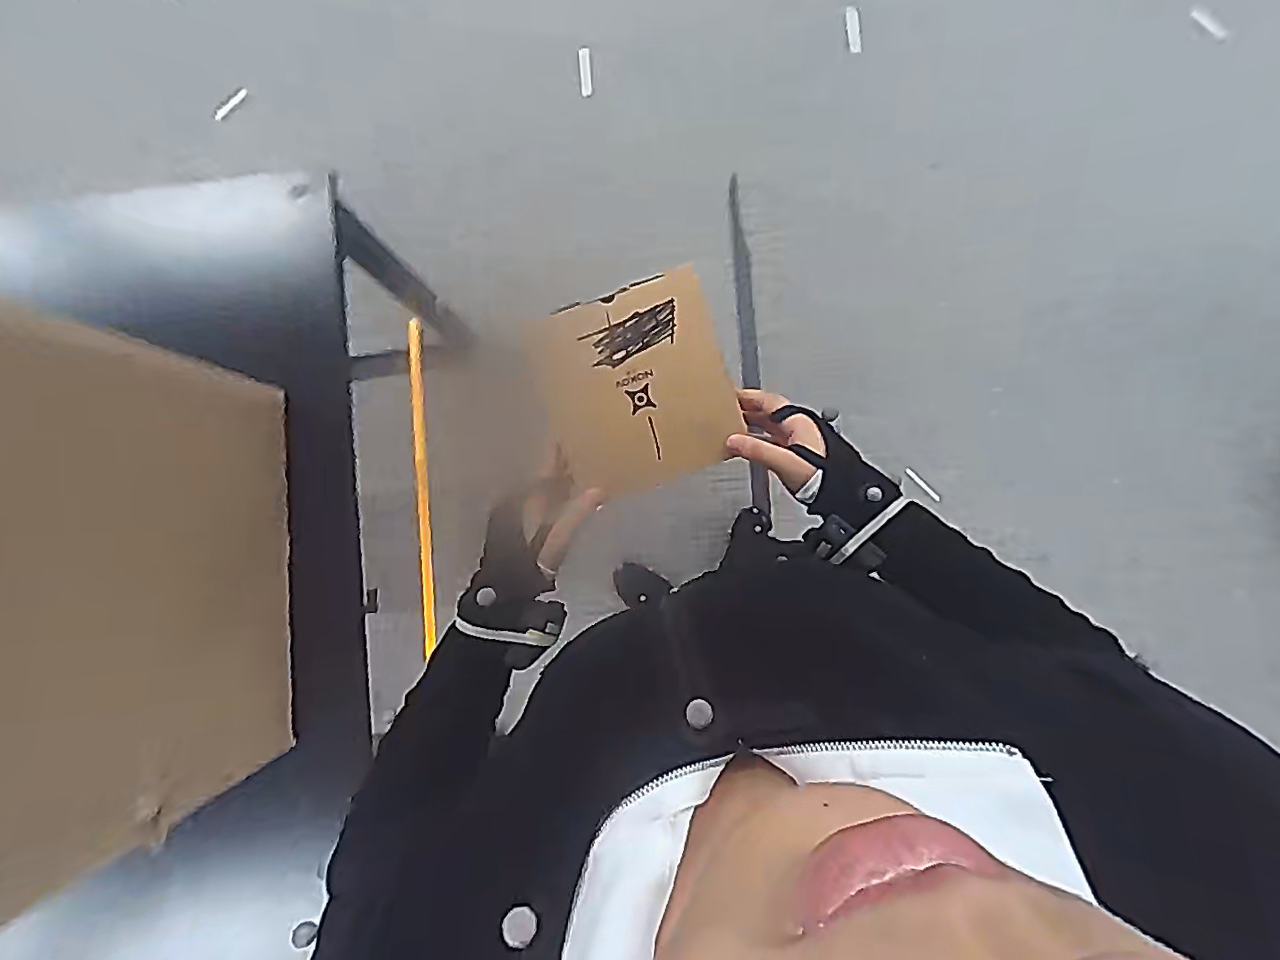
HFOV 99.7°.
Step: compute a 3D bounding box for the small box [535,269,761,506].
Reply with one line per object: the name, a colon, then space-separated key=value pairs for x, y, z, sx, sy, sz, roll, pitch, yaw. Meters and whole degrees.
small box: x=0.003 y=-0.089 z=0.559 sx=0.168 sy=0.176 sz=0.179 roll=-18 pitch=98 yaw=-1
